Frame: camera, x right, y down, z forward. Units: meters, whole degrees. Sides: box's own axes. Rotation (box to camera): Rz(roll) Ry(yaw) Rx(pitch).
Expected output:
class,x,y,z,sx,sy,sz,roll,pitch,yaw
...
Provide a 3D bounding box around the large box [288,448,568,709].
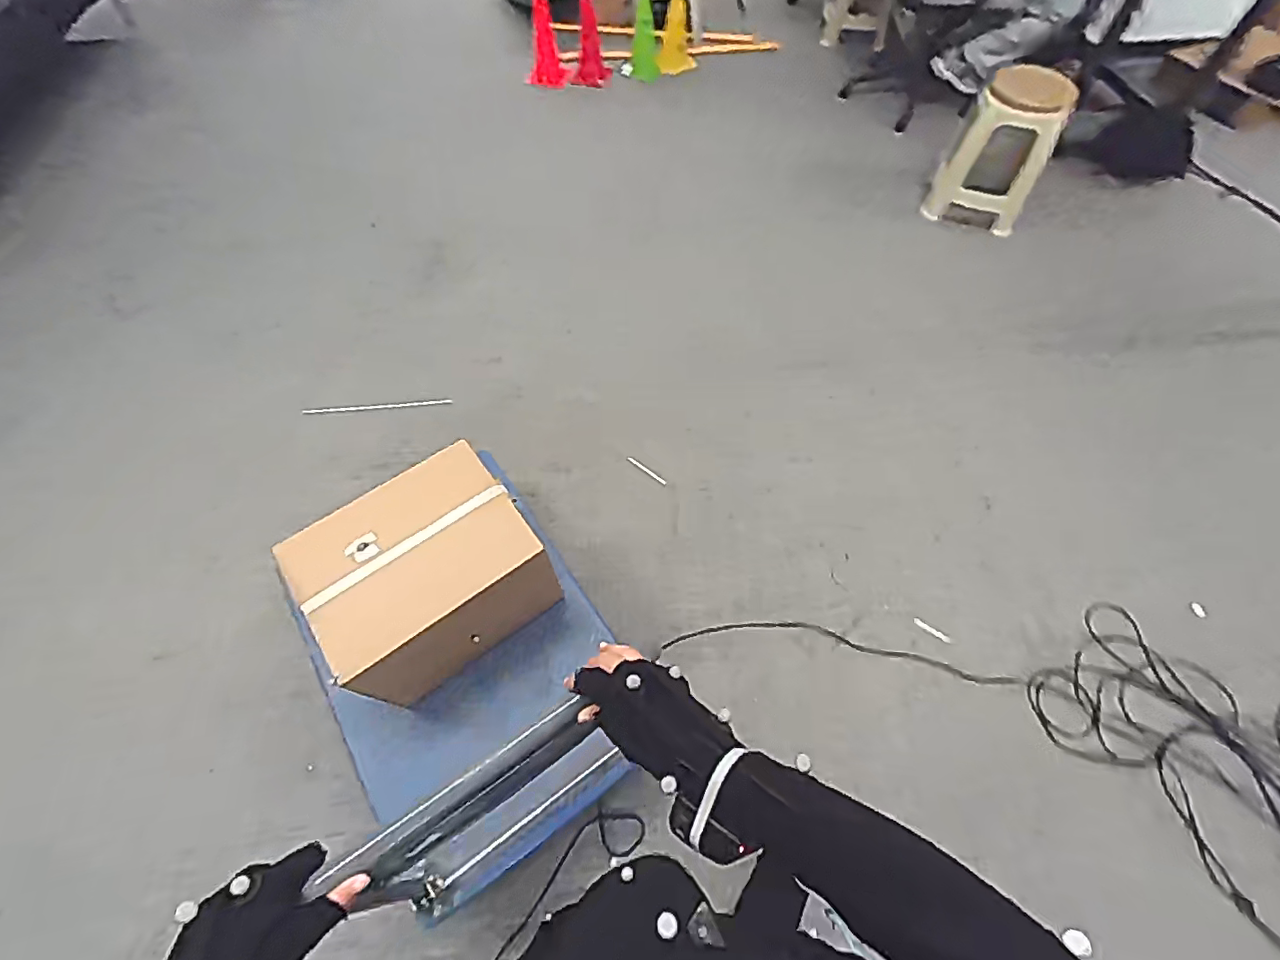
class,x,y,z,sx,sy,sz,roll,pitch,yaw
large box,-0.412,0.213,1.143,0.408,0.320,0.320,-35,66,-17
